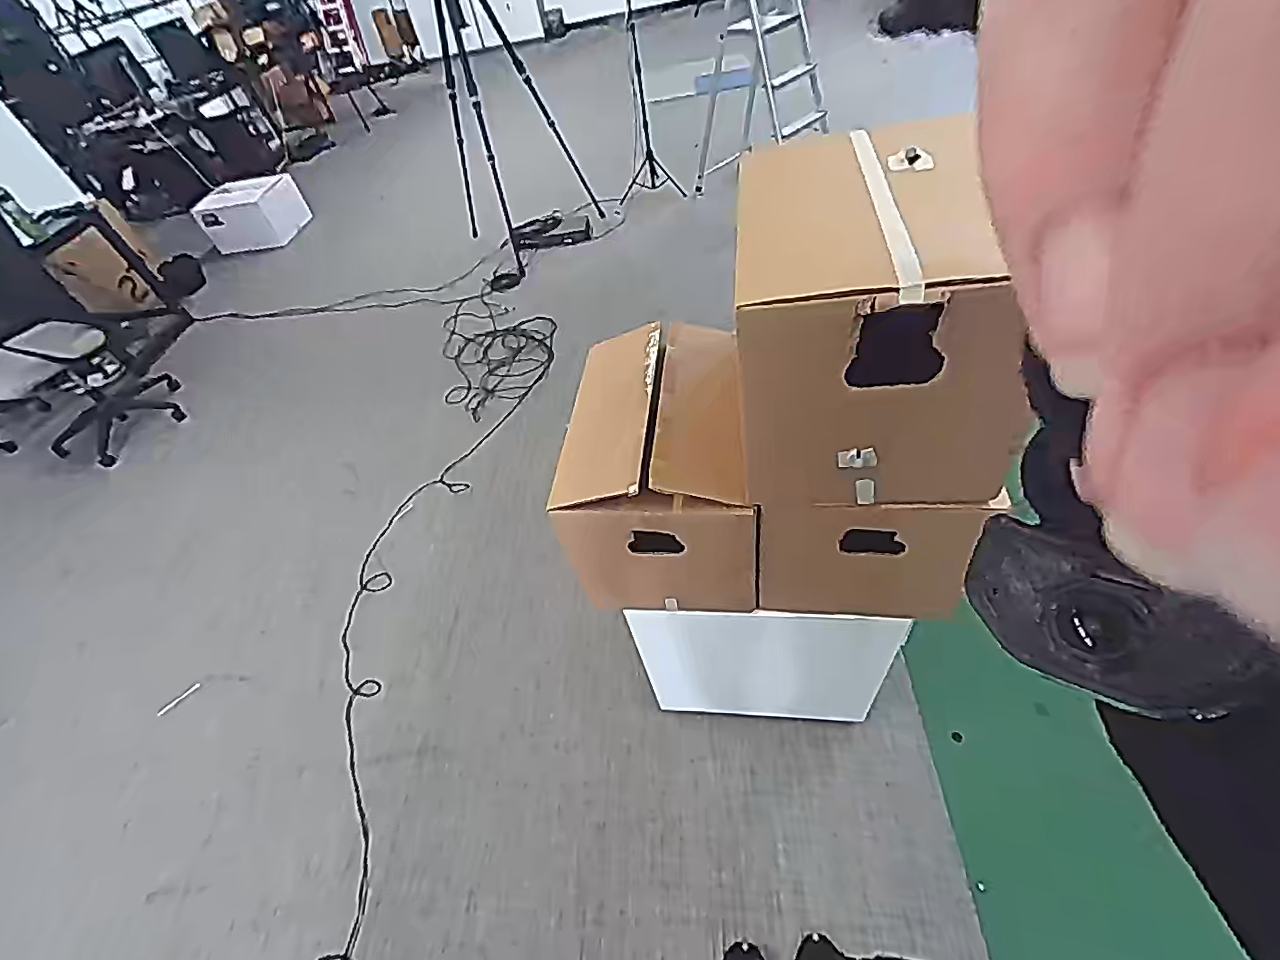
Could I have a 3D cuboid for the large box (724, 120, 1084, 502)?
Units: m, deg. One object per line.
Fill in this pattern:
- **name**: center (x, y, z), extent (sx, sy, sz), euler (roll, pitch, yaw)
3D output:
- **large box**: center (0.287, -0.221, 0.728), extent (0.320, 0.320, 0.408), euler (-2, 48, 13)
